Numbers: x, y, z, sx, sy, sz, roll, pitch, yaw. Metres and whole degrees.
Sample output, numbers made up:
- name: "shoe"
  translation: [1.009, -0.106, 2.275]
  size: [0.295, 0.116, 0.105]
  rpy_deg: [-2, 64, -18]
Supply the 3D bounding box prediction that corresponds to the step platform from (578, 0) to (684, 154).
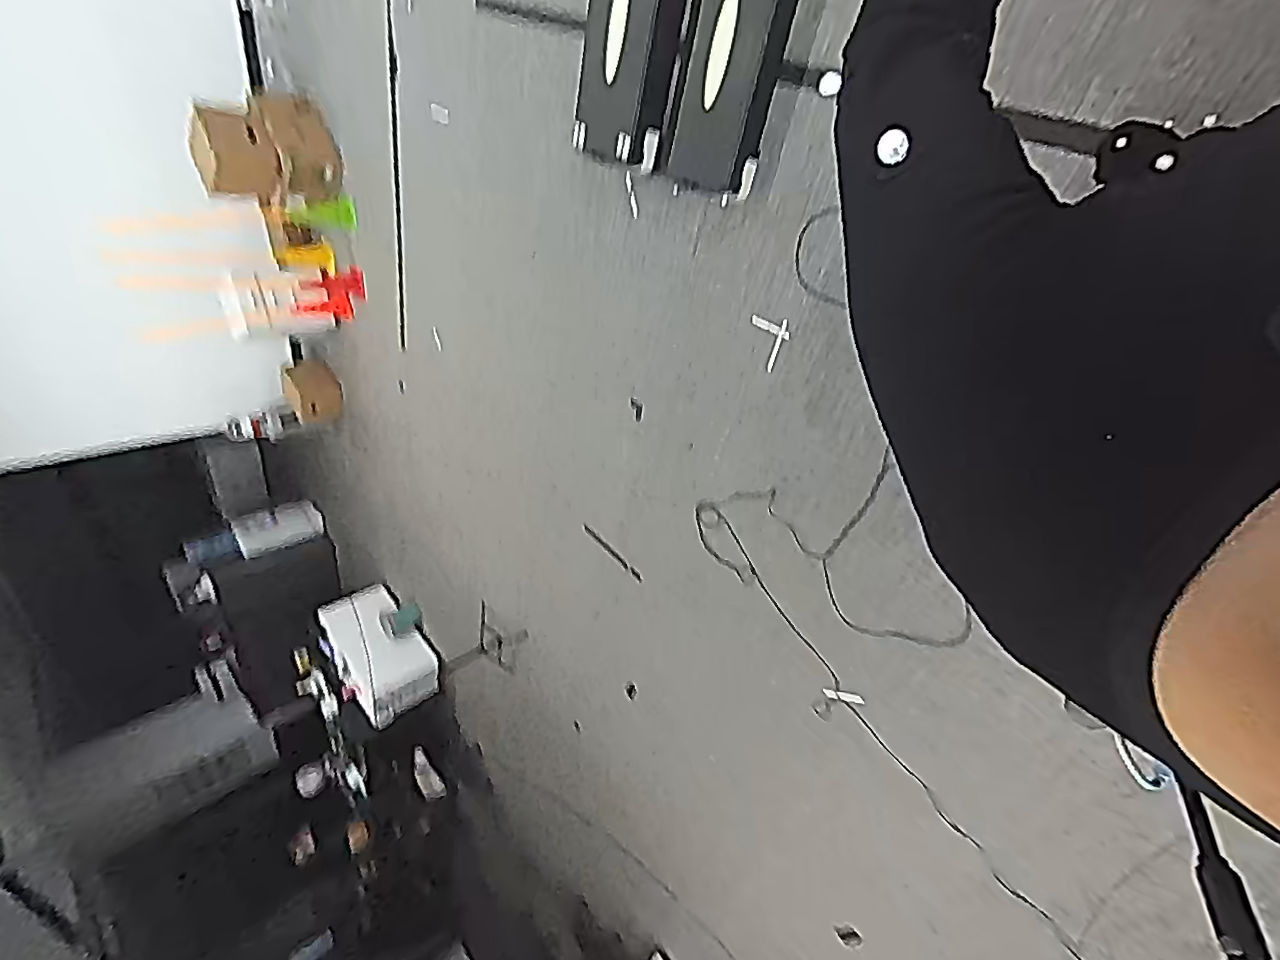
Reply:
- name: "step platform"
  translation: [0.019, -1.329, 1.518]
  size: [0.286, 0.204, 0.684]
  rpy_deg: [36, 128, 30]
